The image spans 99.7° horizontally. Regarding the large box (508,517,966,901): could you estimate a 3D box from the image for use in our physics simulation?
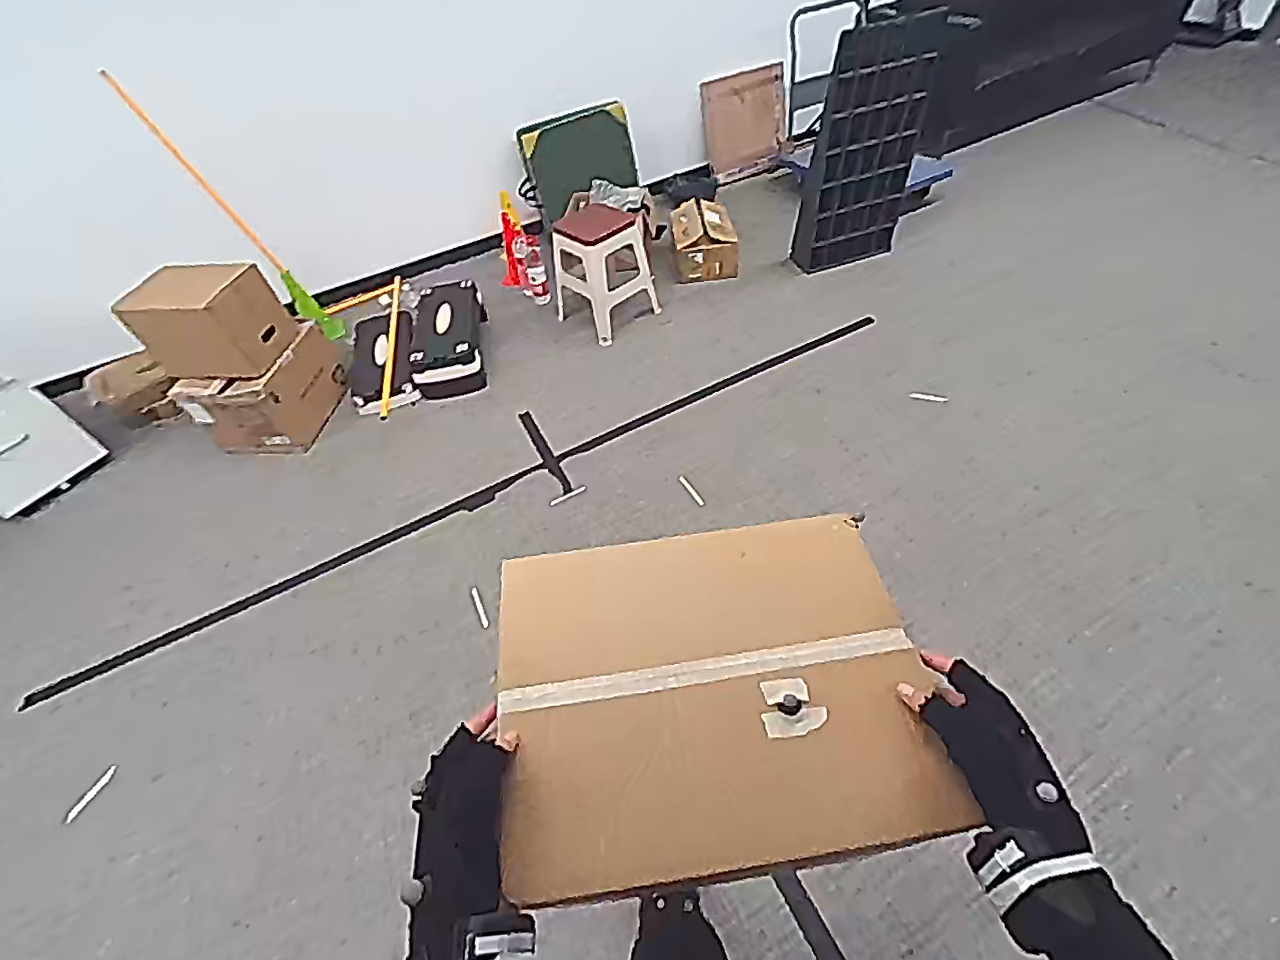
[{"bbox_3d":[0.071,0.282,0.659,0.408,0.320,0.320,-7,51,-3],"label":"large box"}]
